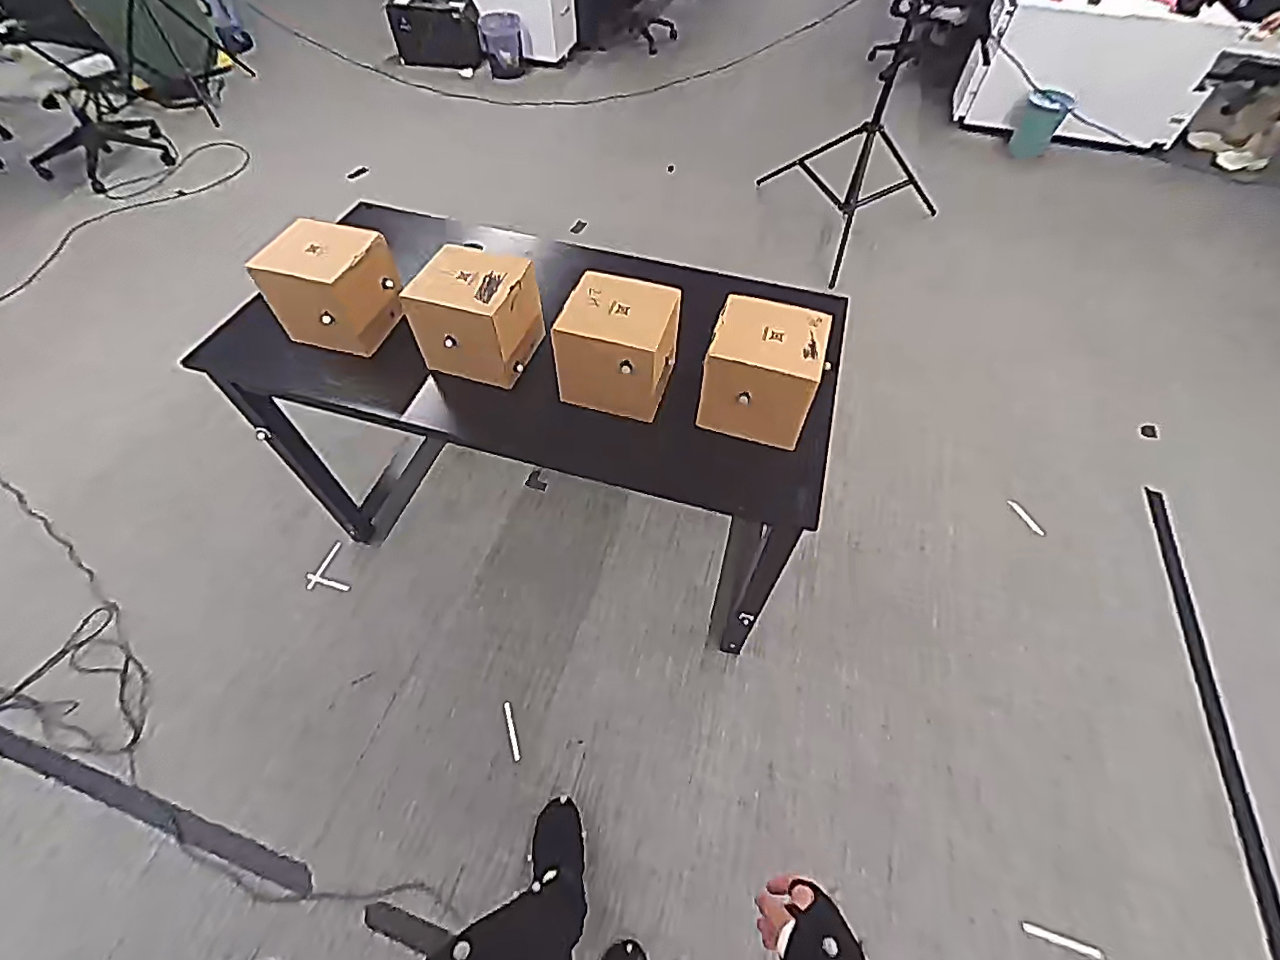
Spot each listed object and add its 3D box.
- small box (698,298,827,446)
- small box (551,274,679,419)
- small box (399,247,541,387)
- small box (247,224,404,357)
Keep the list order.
[{"bbox_3d":[0.203,-0.180,0.926,0.179,0.176,0.168,14,56,11],"label":"small box"},{"bbox_3d":[-0.039,-0.230,0.955,0.179,0.176,0.168,14,55,8],"label":"small box"},{"bbox_3d":[-0.298,-0.295,0.997,0.179,0.176,0.168,14,56,10],"label":"small box"},{"bbox_3d":[-0.583,-0.359,1.038,0.179,0.176,0.168,12,55,8],"label":"small box"}]
